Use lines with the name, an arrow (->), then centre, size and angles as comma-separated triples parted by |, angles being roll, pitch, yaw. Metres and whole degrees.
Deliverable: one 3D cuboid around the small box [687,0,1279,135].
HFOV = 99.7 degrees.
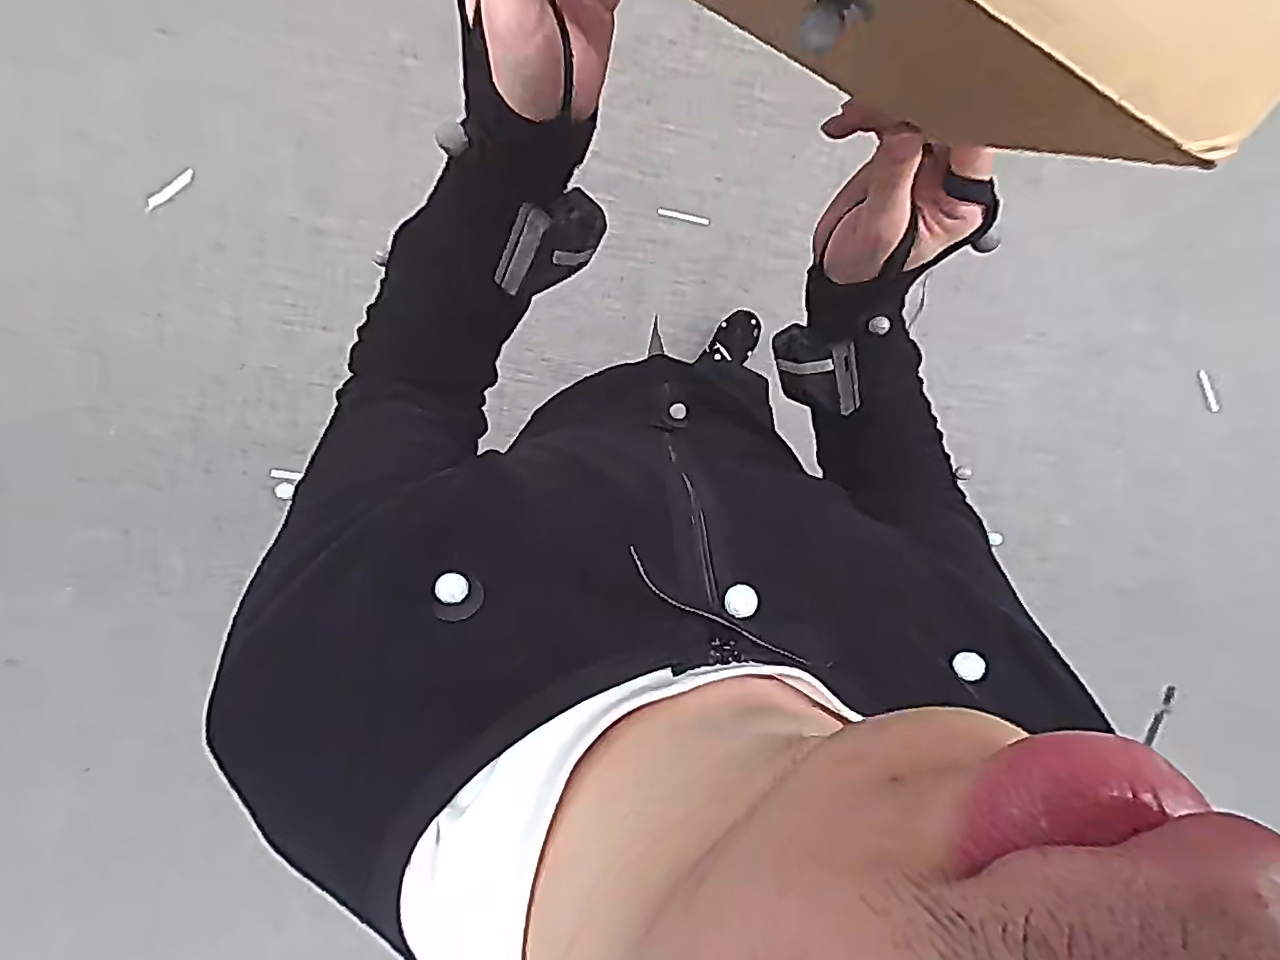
small box -> 0.089, -0.219, 0.144 | 0.179, 0.176, 0.168 | 19, 123, -12
